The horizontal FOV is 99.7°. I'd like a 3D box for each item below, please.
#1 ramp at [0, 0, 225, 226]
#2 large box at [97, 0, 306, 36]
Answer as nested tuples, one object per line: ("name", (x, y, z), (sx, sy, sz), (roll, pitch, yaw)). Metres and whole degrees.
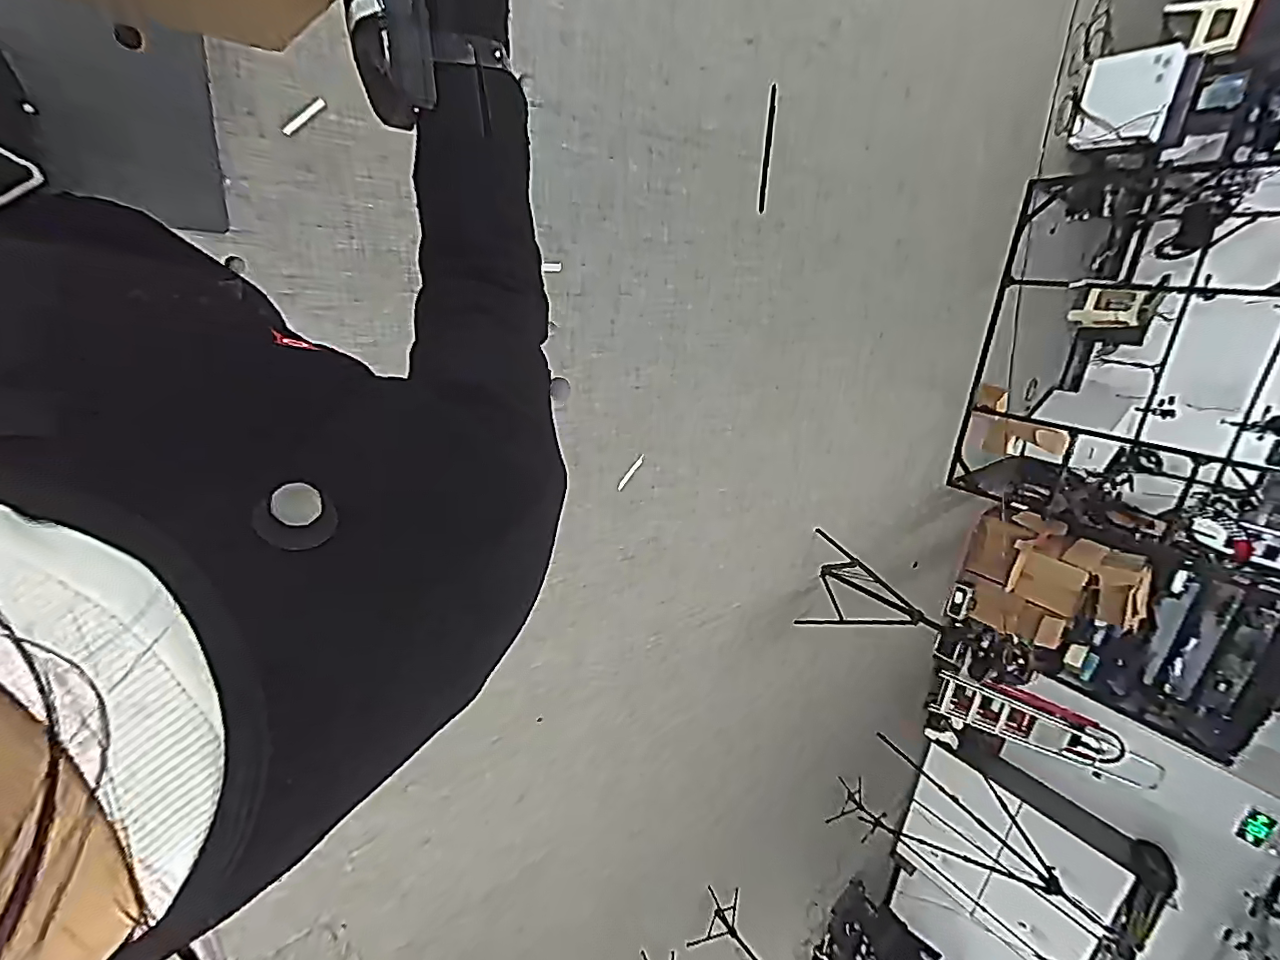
("ramp", (-0.924, -0.908, 0.721), (0.509, 0.206, 0.991), (-13, 117, -38))
("large box", (-0.382, -0.437, 0.211), (0.408, 0.320, 0.320), (-15, 124, -37))
